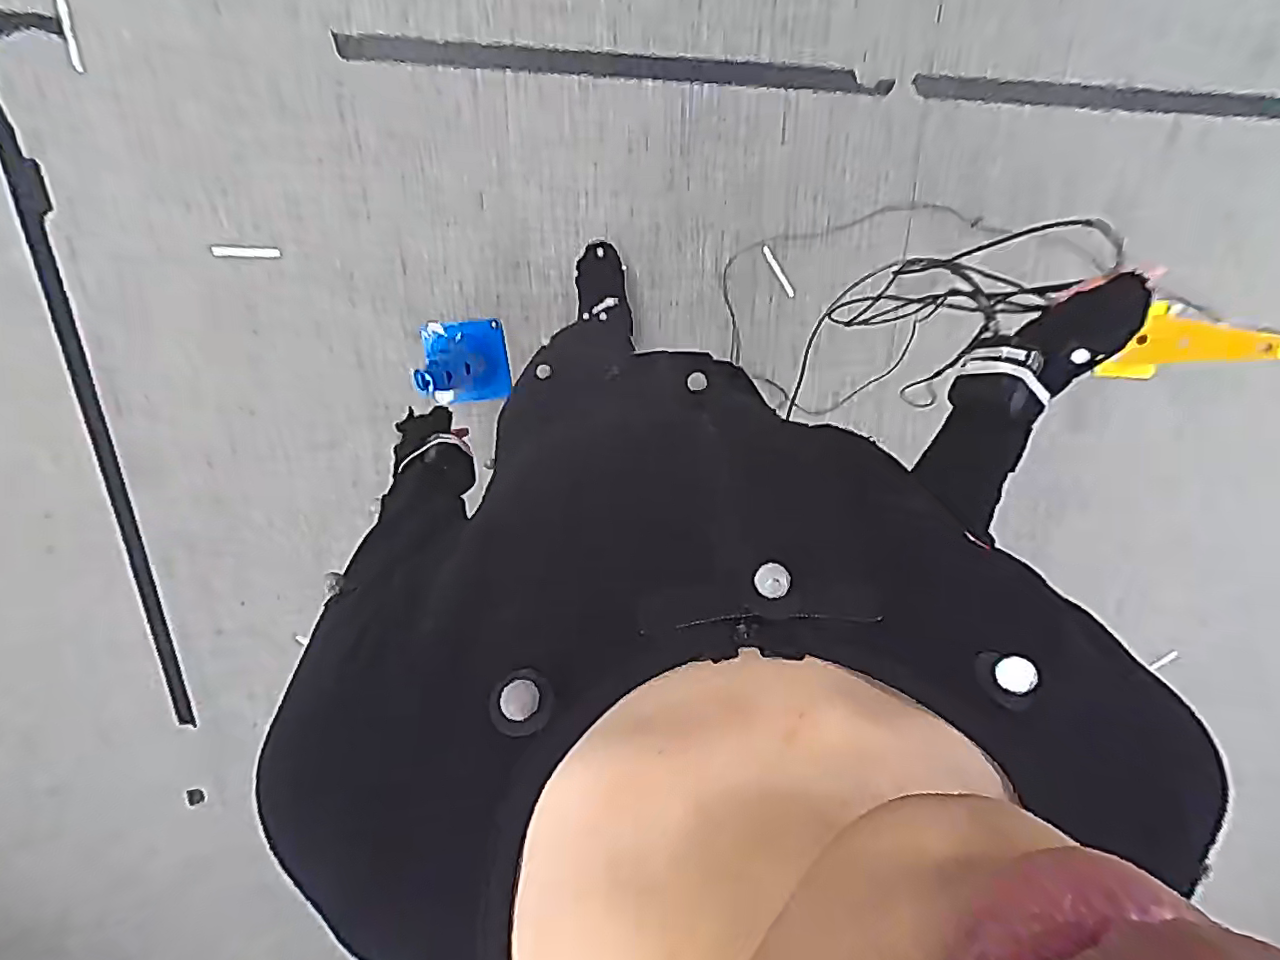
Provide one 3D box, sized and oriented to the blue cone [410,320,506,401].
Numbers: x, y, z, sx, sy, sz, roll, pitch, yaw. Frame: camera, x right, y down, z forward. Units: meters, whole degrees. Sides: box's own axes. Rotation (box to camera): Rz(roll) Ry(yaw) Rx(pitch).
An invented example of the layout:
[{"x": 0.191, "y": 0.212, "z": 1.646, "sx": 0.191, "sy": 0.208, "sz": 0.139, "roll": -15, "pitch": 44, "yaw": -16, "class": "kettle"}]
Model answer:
[{"x": -0.426, "y": -0.247, "z": 1.196, "sx": 0.193, "sy": 0.380, "sz": 0.192, "roll": -5, "pitch": 108, "yaw": -2, "class": "blue cone"}]
